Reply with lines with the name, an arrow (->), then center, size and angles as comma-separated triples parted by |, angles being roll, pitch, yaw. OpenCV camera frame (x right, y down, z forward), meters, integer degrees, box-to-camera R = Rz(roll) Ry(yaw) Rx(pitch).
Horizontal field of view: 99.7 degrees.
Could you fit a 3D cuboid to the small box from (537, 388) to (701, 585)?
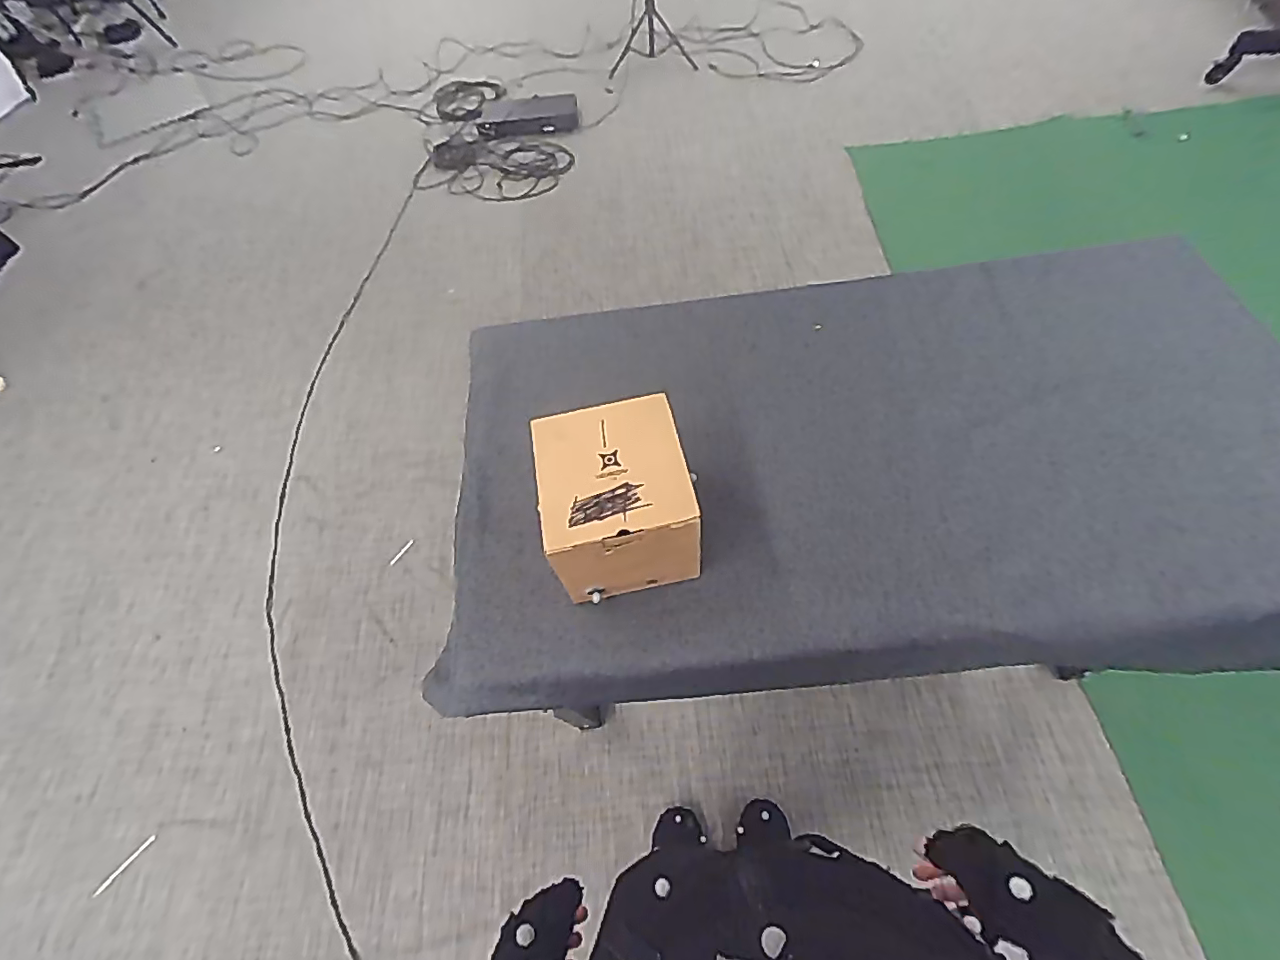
small box -> -0.021, 0.019, 0.671 | 0.168, 0.176, 0.179 | -12, 59, -1
